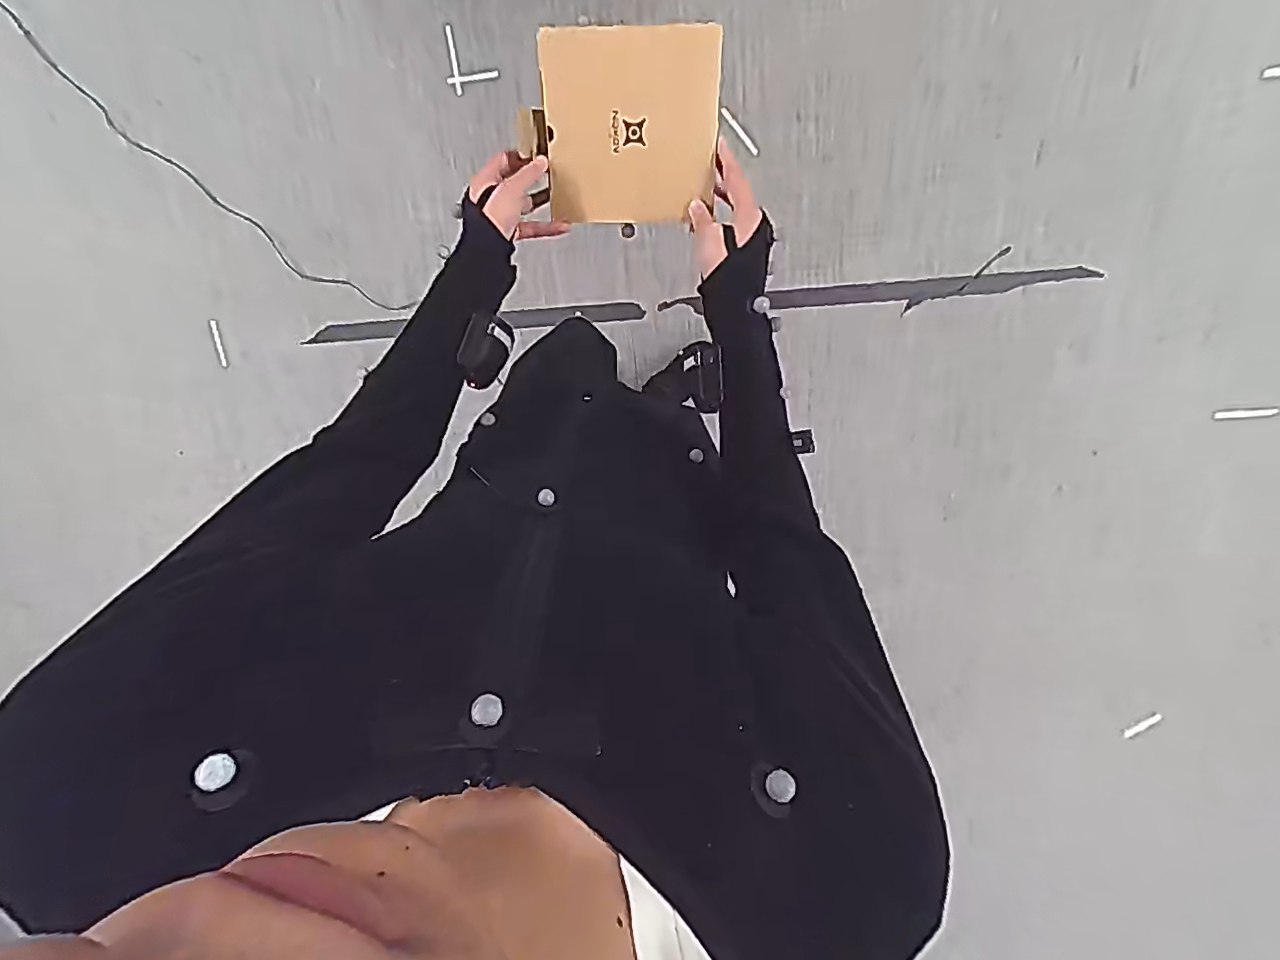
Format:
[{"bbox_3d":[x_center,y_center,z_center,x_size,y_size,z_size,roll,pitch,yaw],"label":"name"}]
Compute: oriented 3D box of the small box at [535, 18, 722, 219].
[{"bbox_3d":[-0.003,-0.389,0.601,0.179,0.176,0.168,3,119,7],"label":"small box"}]
